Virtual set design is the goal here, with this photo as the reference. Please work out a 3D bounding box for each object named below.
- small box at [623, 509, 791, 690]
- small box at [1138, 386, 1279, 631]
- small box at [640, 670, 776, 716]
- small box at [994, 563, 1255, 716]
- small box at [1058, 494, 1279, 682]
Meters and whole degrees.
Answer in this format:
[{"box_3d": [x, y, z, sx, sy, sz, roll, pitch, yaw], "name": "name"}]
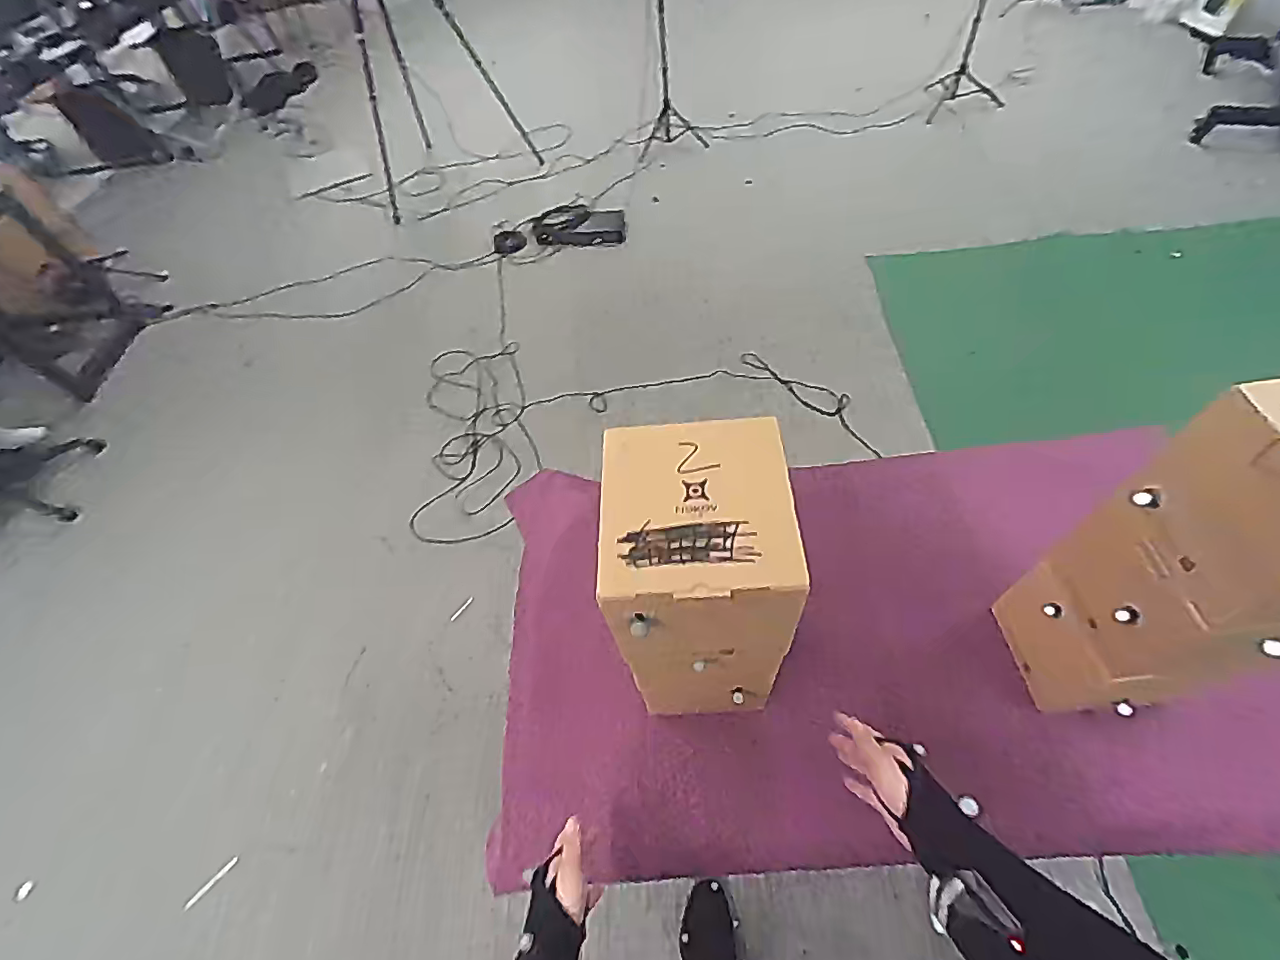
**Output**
[{"box_3d": [0.075, 0.153, 0.668, 0.179, 0.176, 0.168, -5, 55, 4], "name": "small box"}, {"box_3d": [0.612, 0.027, 0.485, 0.179, 0.176, 0.168, -6, 55, 3], "name": "small box"}, {"box_3d": [0.092, 0.244, 0.801, 0.179, 0.176, 0.168, -5, 54, 4], "name": "small box"}, {"box_3d": [0.643, 0.219, 0.749, 0.179, 0.176, 0.168, -6, 54, 3], "name": "small box"}, {"box_3d": [0.626, 0.123, 0.617, 0.179, 0.176, 0.168, -5, 55, 4], "name": "small box"}]
